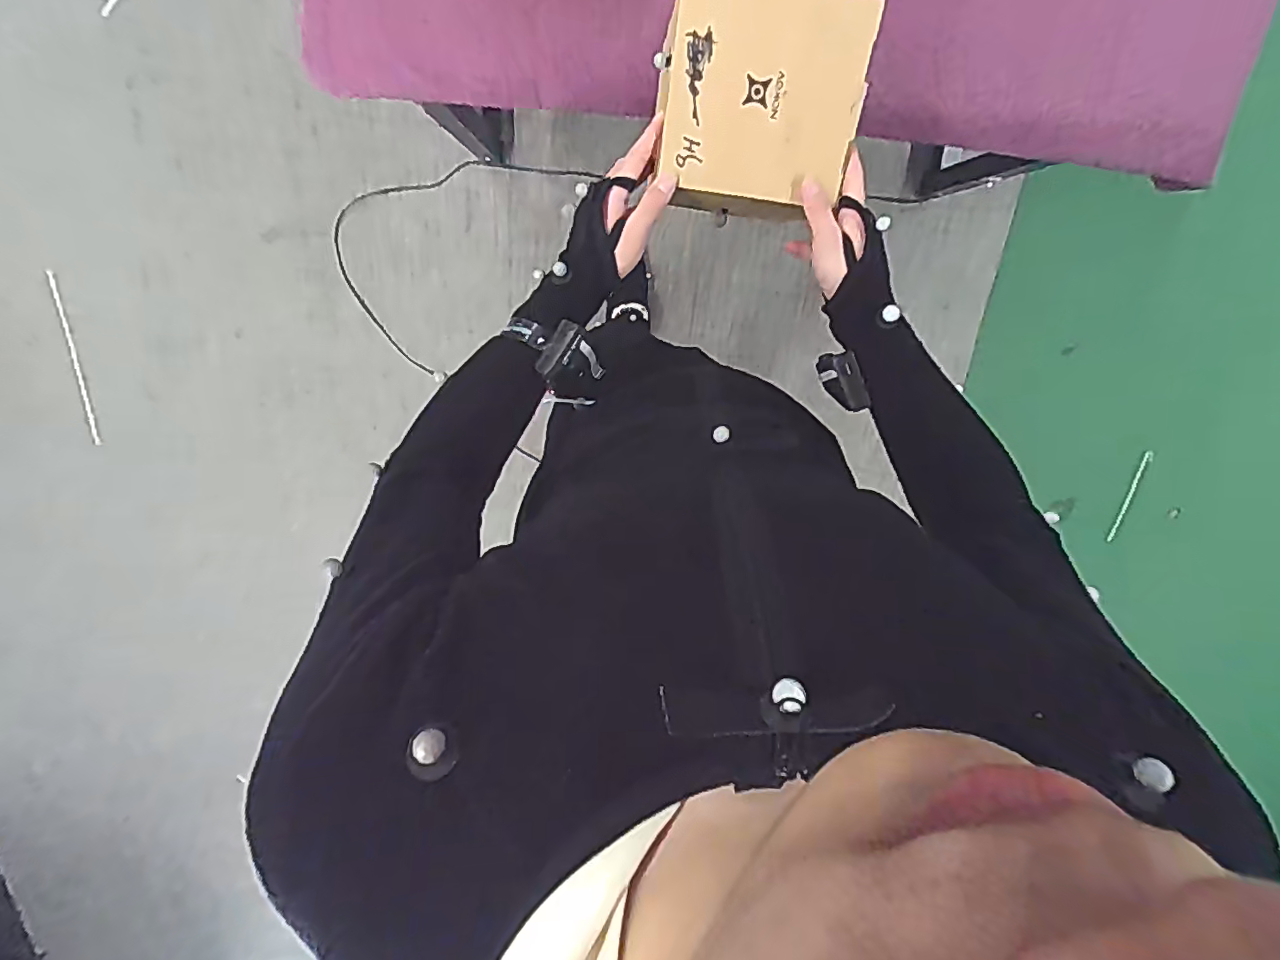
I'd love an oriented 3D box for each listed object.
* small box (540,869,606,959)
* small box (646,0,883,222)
[{"bbox_3d":[-0.191,1.280,1.573,0.168,0.176,0.179,6,108,-3],"label":"small box"},{"bbox_3d":[0.107,-0.369,0.554,0.179,0.176,0.168,6,111,-6],"label":"small box"}]
